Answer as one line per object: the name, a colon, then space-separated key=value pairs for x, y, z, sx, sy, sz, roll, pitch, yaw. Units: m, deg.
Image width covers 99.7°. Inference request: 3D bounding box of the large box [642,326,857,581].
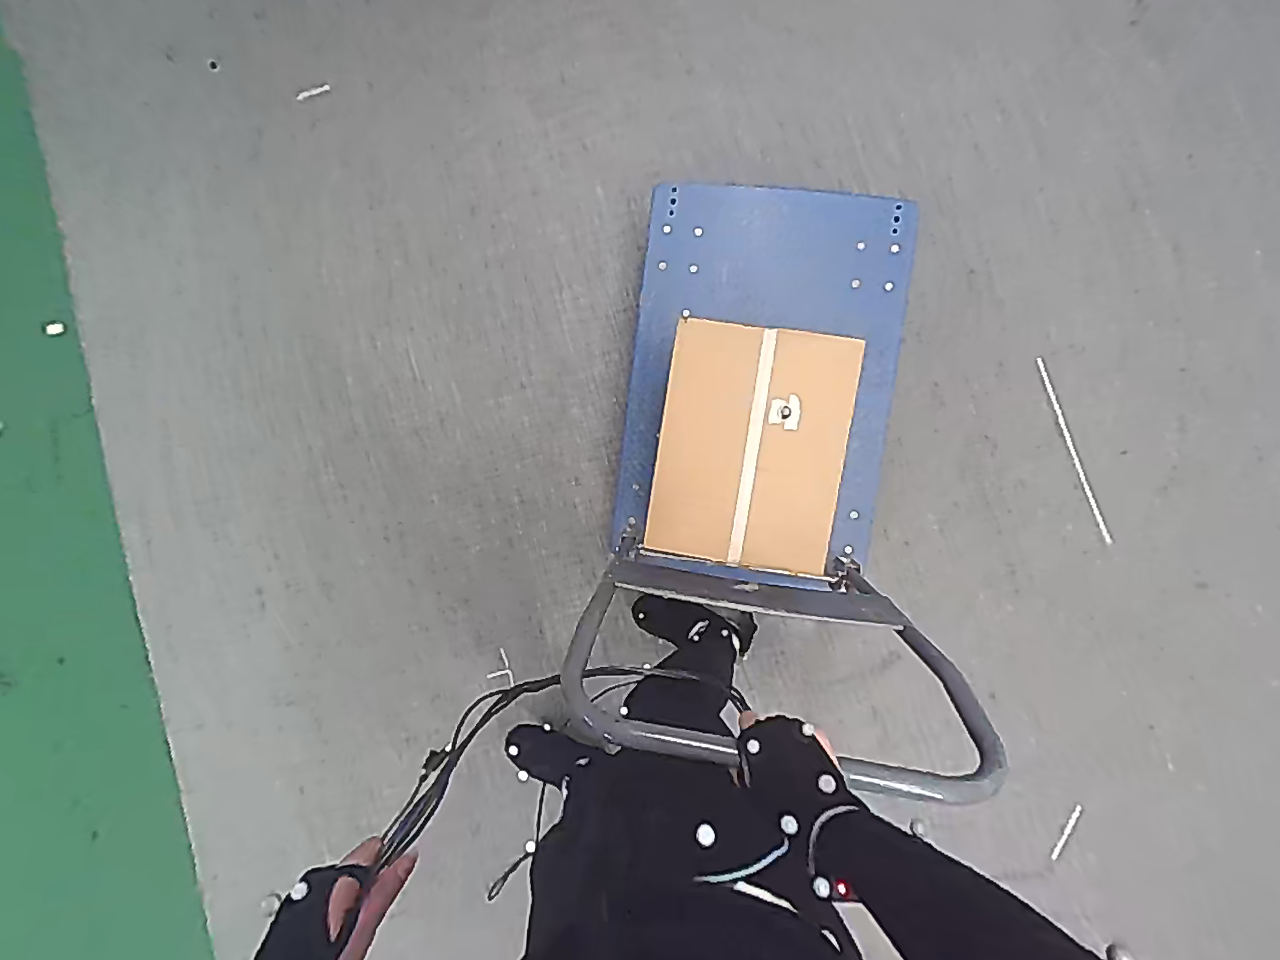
large box: x=0.197 y=-0.051 z=1.071 sx=0.320 sy=0.320 sz=0.408 roll=10 pitch=94 yaw=4
